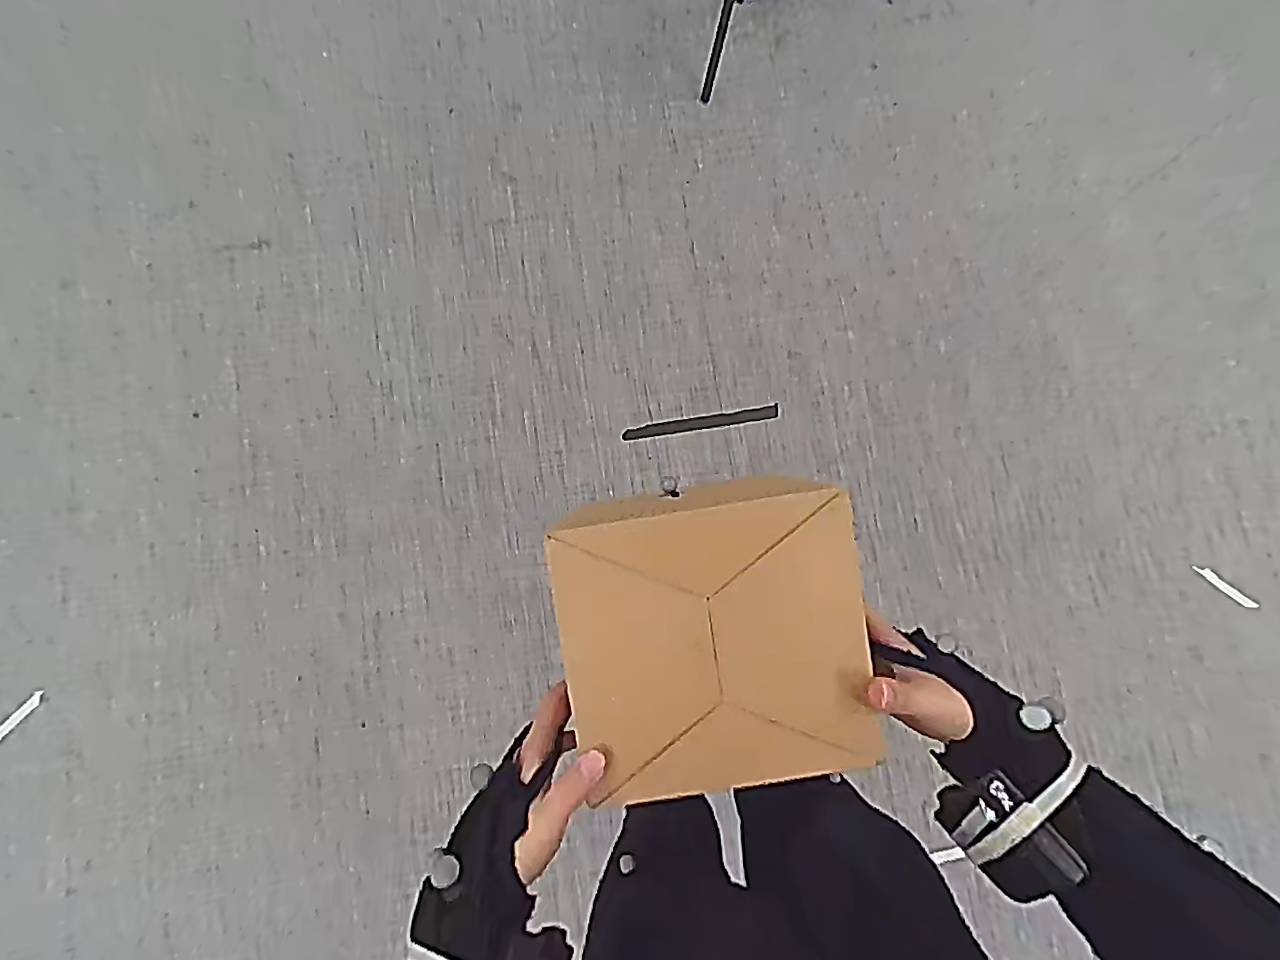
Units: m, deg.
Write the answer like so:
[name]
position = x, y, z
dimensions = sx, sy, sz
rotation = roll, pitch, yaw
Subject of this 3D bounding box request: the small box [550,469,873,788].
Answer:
[small box]
position = 0.044, 0.089, 0.391
dimensions = 0.179, 0.176, 0.168
rotation = -9, 93, -1
